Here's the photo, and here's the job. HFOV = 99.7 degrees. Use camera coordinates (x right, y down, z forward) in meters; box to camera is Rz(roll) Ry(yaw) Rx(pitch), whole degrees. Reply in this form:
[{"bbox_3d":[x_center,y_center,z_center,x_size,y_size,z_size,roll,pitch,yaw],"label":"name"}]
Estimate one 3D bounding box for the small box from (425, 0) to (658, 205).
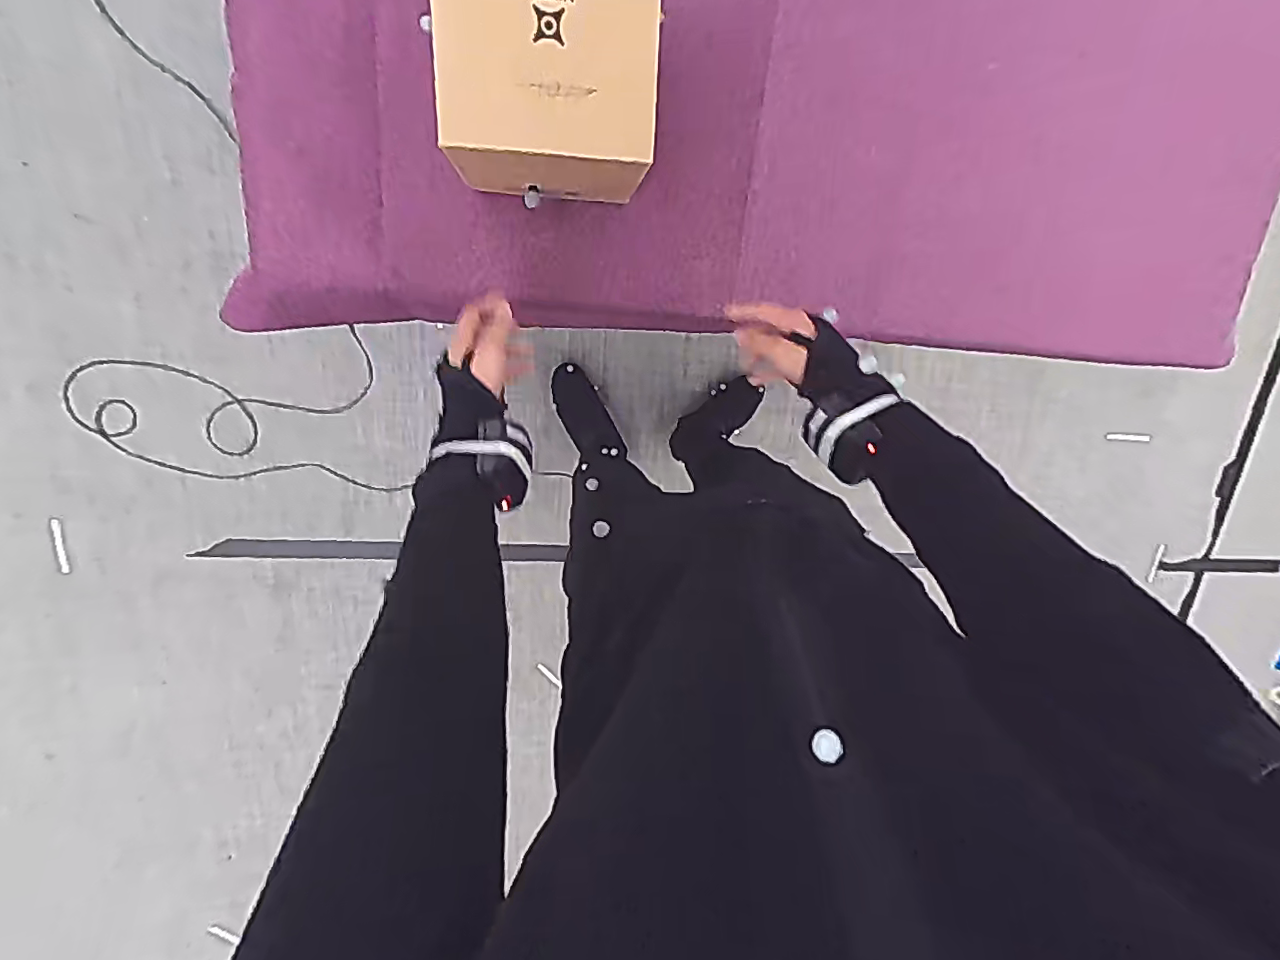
[{"bbox_3d":[-0.081,-0.354,0.462,0.168,0.176,0.179,1,107,-8],"label":"small box"}]
